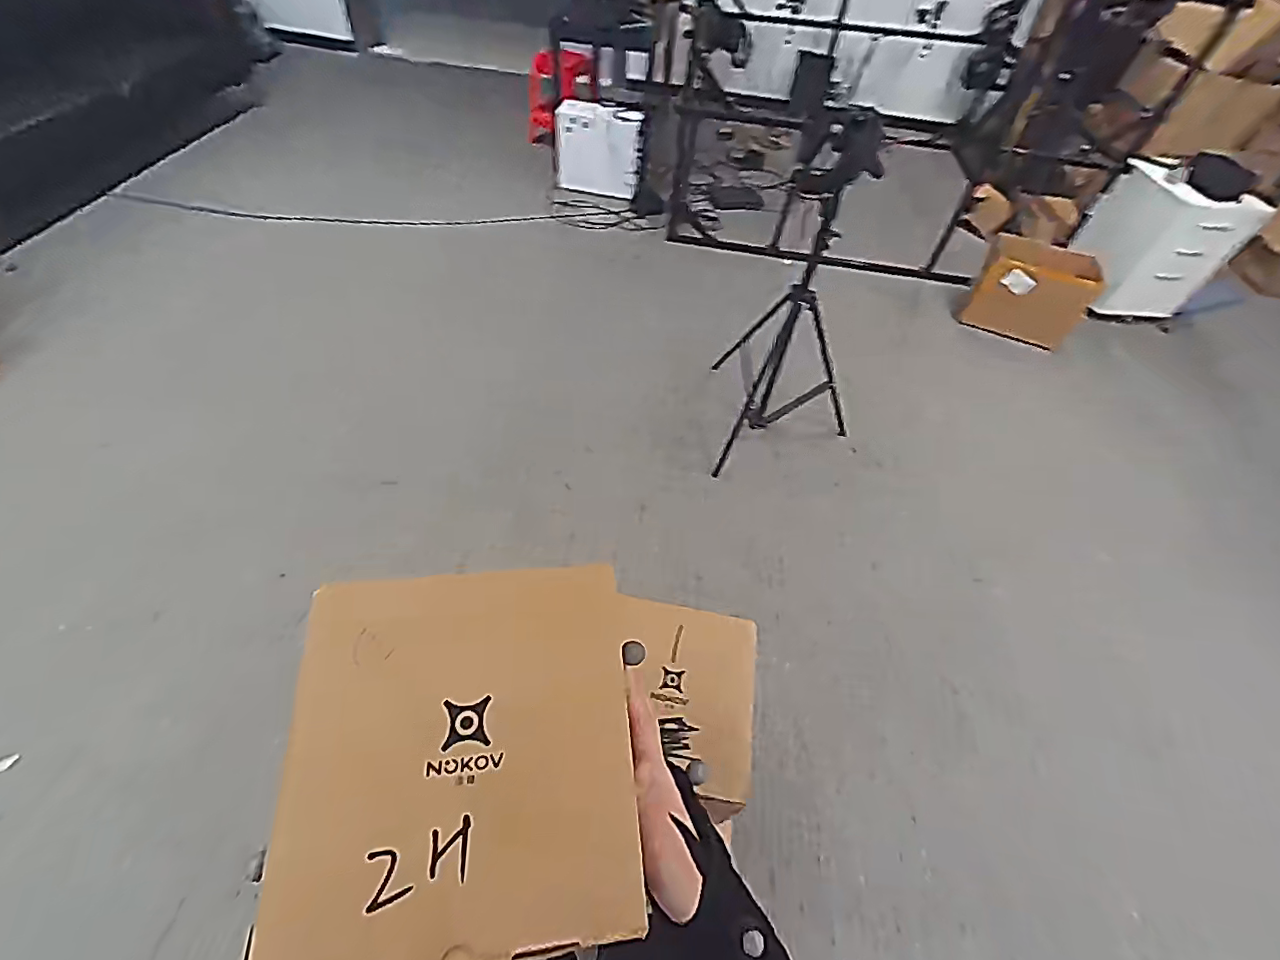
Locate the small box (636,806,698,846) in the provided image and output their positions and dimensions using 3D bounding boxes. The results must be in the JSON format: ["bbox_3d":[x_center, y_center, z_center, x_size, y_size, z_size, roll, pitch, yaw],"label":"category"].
[{"bbox_3d":[0.003,0.452,0.847,0.168,0.176,0.179,9,53,2],"label":"small box"}]

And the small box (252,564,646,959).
[{"bbox_3d":[-0.096,0.167,0.338,0.168,0.176,0.179,-4,62,-9],"label":"small box"}]

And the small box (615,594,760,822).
[{"bbox_3d":[0.026,0.252,0.587,0.168,0.176,0.179,11,52,3],"label":"small box"}]
